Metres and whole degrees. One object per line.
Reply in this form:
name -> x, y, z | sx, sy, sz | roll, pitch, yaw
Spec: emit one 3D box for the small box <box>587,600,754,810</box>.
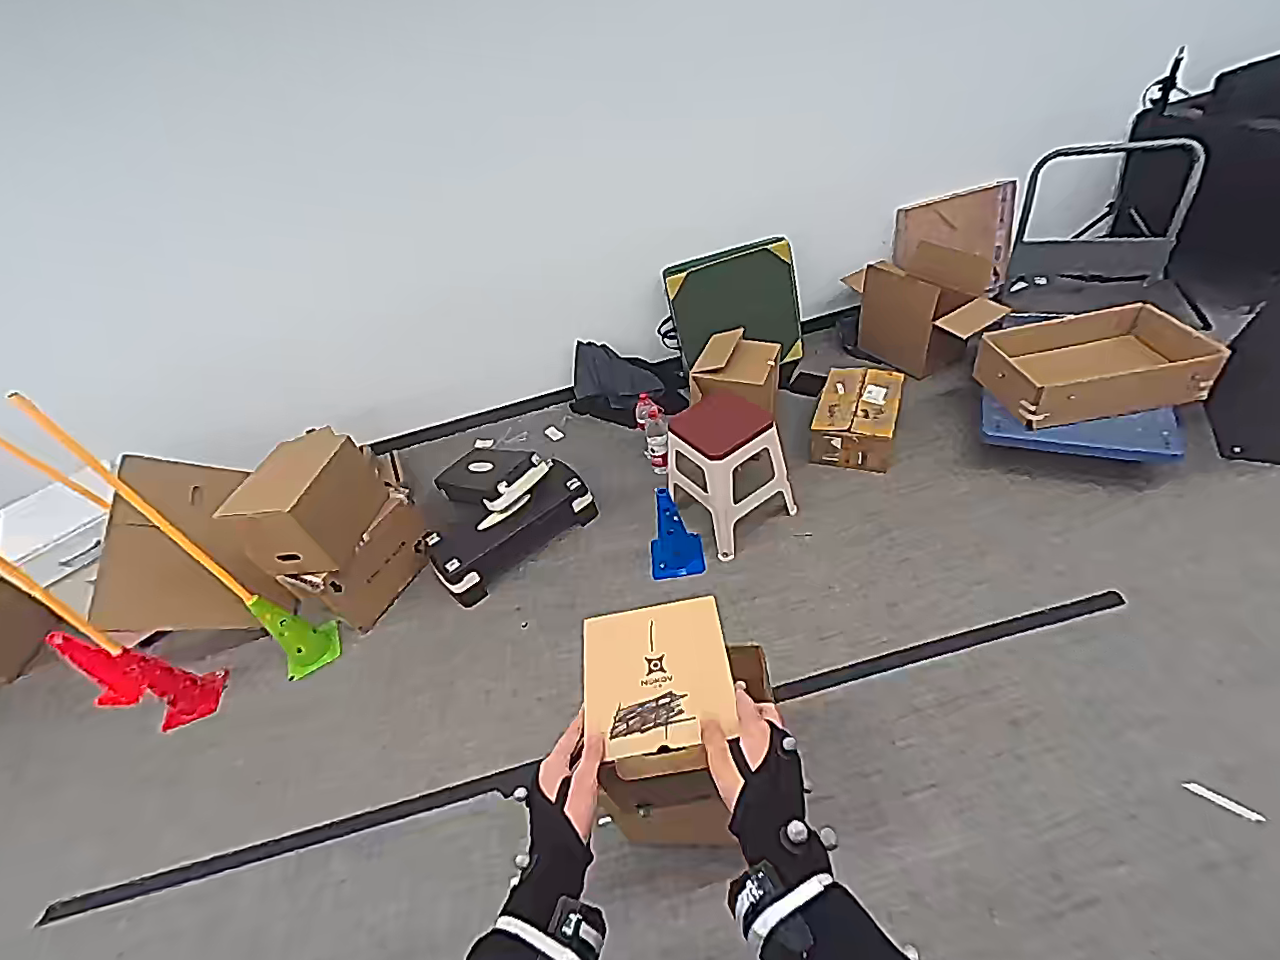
small box -> 0.037, 0.277, 0.654 | 0.168, 0.176, 0.179 | -12, 41, 4
